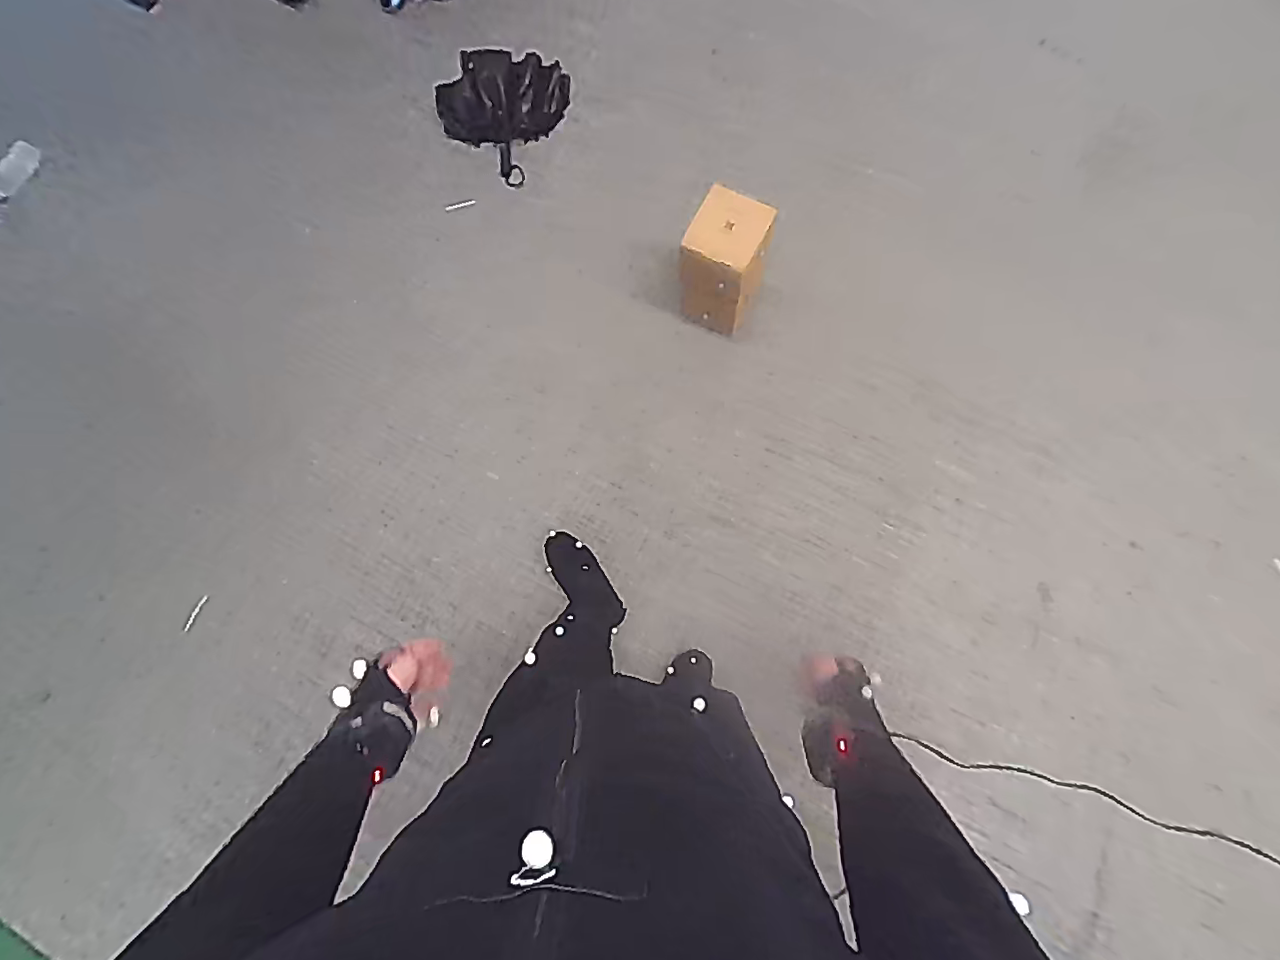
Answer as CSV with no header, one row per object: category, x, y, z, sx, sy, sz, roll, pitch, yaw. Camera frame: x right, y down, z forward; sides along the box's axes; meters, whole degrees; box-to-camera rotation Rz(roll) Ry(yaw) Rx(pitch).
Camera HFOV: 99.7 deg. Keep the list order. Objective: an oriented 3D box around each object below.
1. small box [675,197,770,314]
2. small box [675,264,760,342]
small box,0.197,-0.541,1.325,0.168,0.176,0.179,27,81,9
small box,0.211,-0.509,1.485,0.168,0.176,0.179,27,83,9
